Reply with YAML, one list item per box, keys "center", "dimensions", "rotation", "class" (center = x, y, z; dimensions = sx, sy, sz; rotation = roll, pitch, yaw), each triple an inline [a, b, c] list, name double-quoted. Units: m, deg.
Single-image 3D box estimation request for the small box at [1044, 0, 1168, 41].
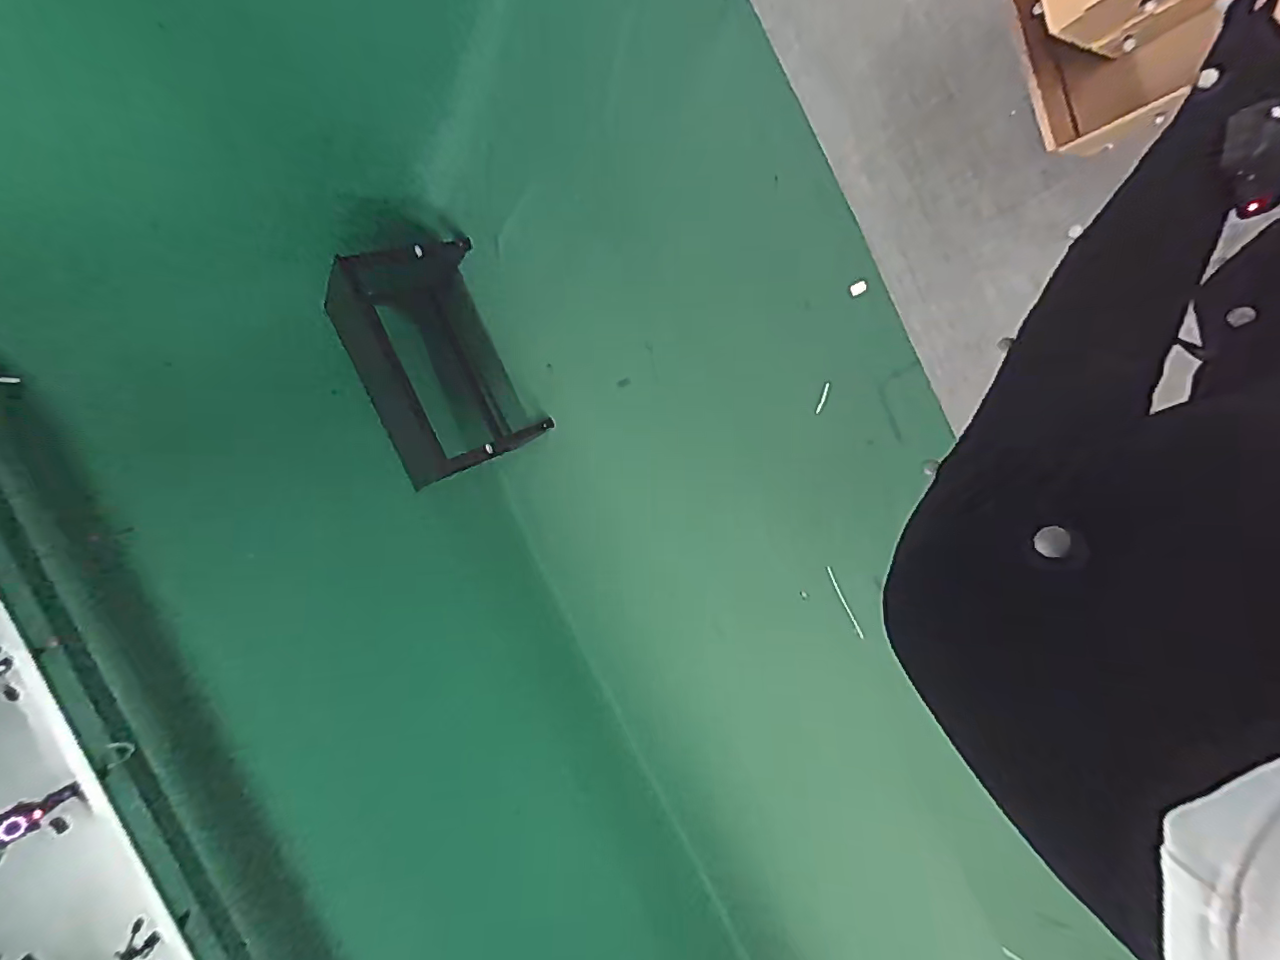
- center: [0.543, -0.622, 0.583]
  dimensions: [0.168, 0.176, 0.179]
  rotation: [-10, 105, 53]
  class: "small box"
